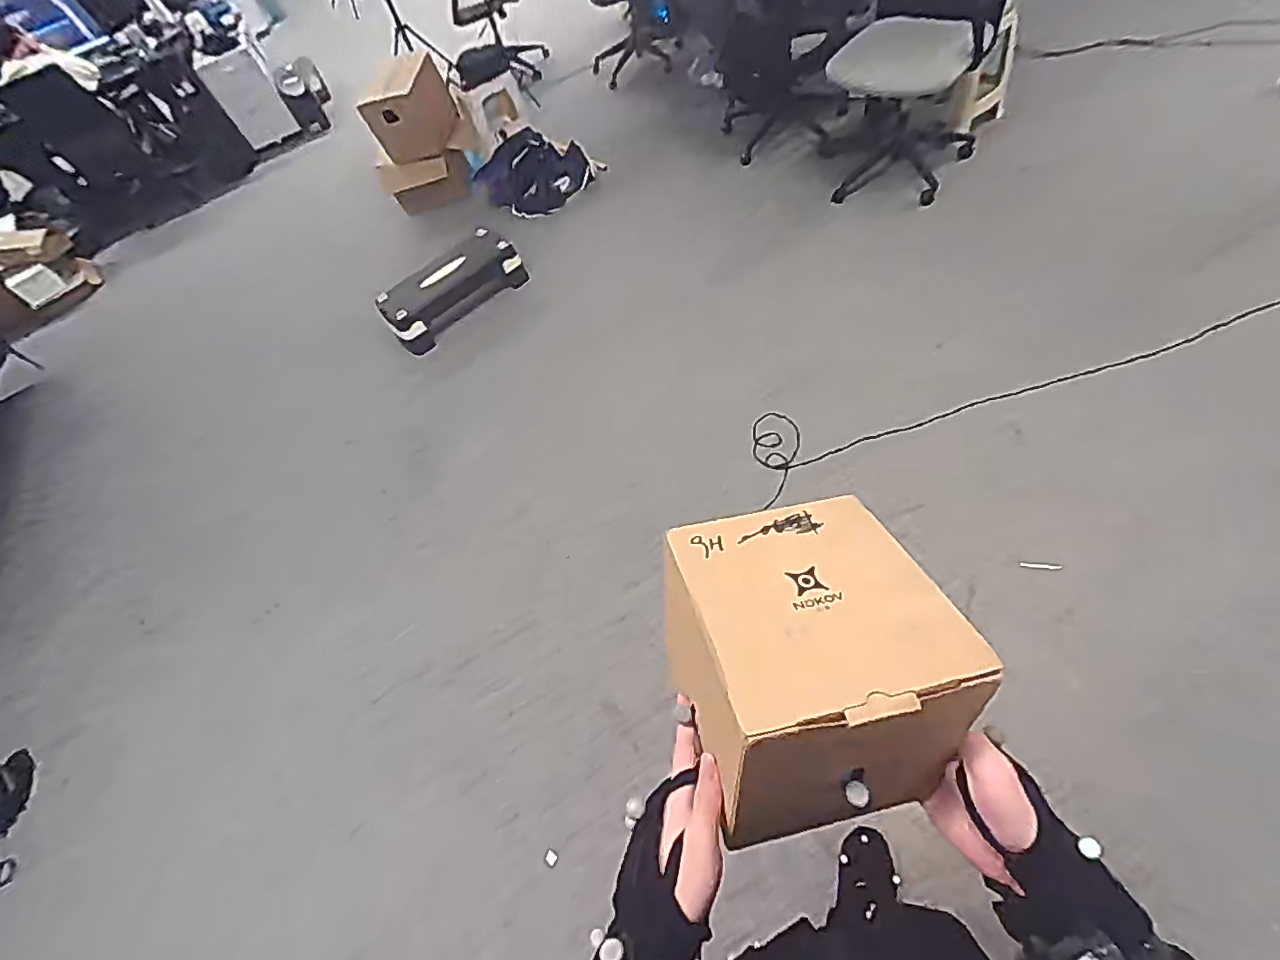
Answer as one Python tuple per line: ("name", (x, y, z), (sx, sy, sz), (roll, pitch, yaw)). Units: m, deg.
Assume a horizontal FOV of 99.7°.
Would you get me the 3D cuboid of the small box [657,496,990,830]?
("small box", (0.112, 0.140, 0.417), (0.168, 0.176, 0.179), (-9, 40, -9))
